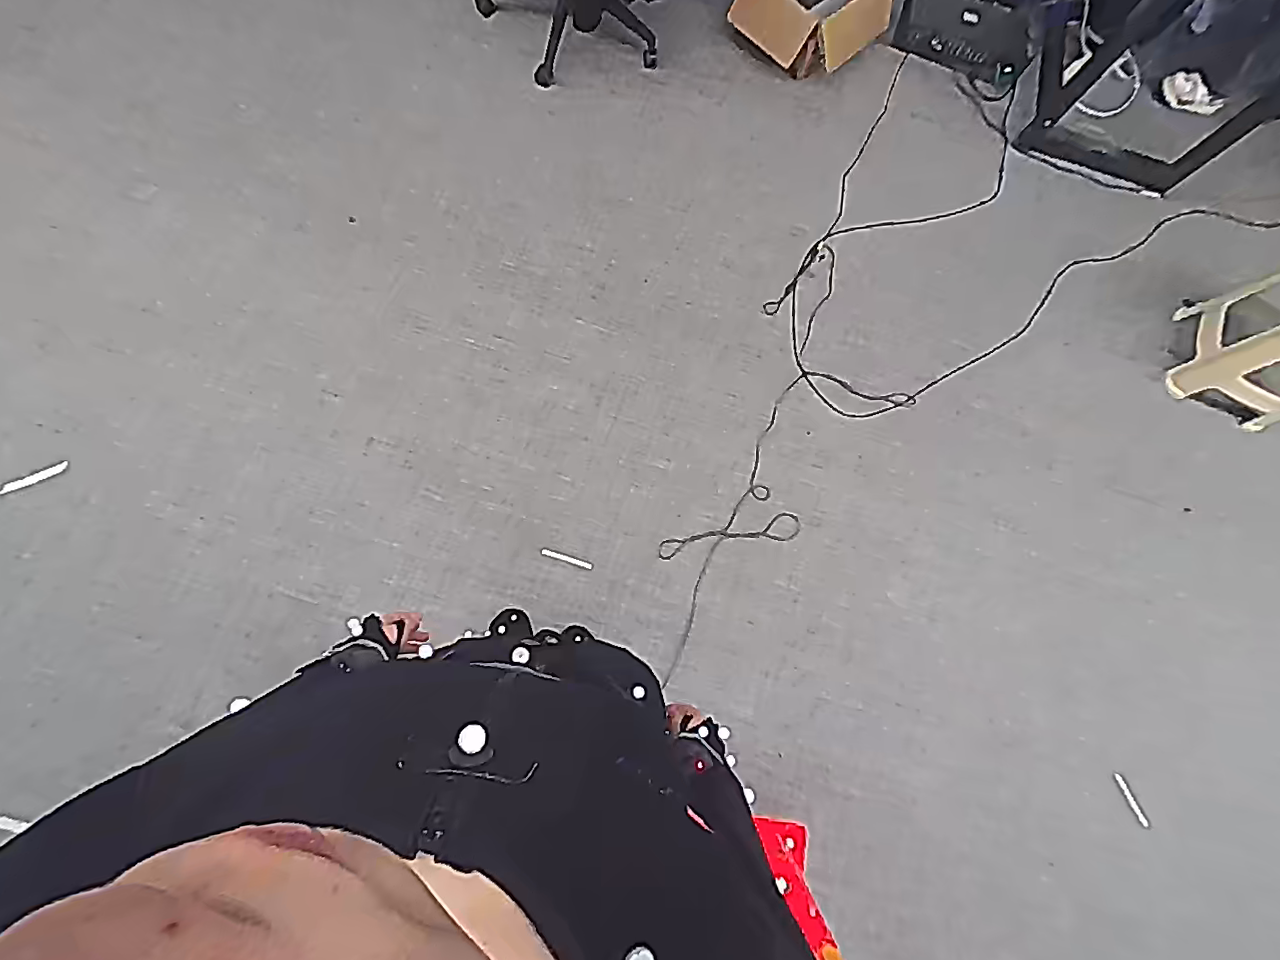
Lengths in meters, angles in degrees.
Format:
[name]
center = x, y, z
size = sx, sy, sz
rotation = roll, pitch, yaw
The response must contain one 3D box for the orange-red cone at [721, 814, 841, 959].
[orange-red cone]
center = 0.312, 0.862, 1.103
size = 0.199, 0.360, 0.198
rotation = 13, 74, -2
